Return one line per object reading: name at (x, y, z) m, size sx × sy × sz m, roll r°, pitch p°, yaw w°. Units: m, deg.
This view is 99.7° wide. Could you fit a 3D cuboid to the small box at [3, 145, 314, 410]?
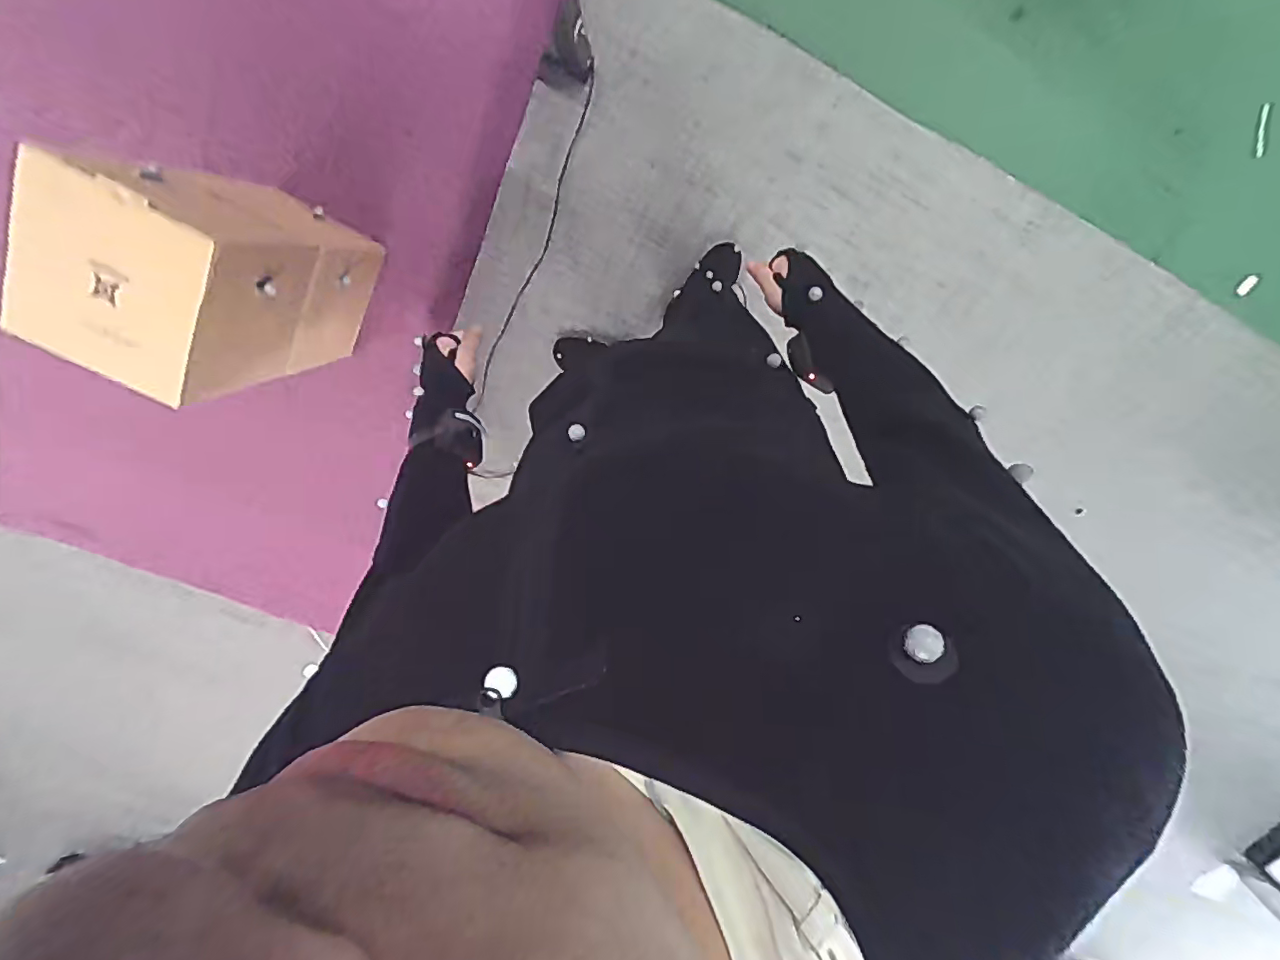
small box at (-0.481, -0.204, 0.566) m, size 0.168 × 0.176 × 0.179 m, roll 28°, pitch 110°, yaw -9°
